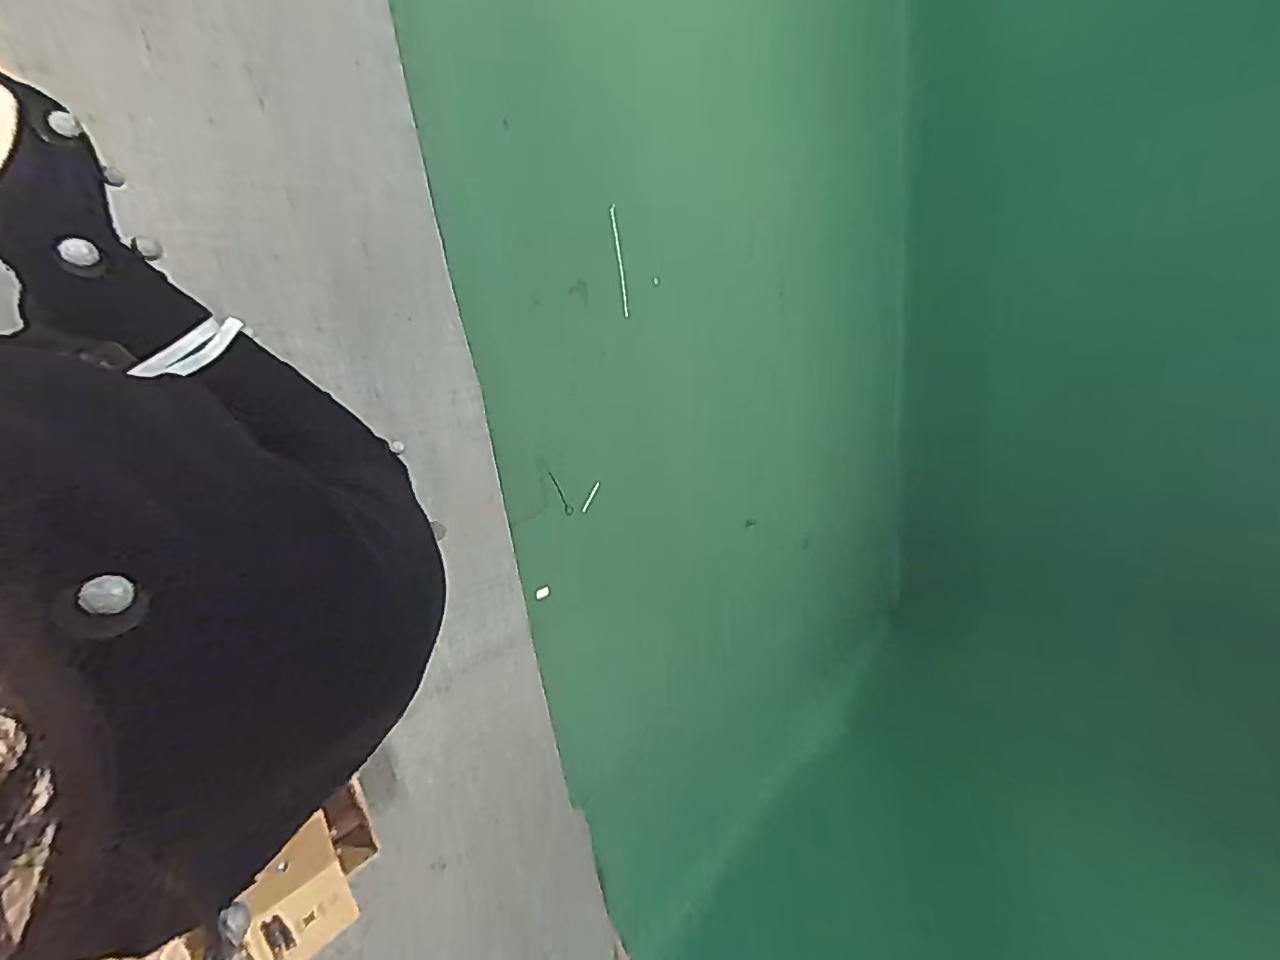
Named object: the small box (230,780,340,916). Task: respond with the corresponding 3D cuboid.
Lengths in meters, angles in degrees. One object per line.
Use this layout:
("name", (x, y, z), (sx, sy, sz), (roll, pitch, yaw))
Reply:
("small box", (-0.837, 0.846, 1.272), (0.168, 0.176, 0.179), (-18, 109, -40))
